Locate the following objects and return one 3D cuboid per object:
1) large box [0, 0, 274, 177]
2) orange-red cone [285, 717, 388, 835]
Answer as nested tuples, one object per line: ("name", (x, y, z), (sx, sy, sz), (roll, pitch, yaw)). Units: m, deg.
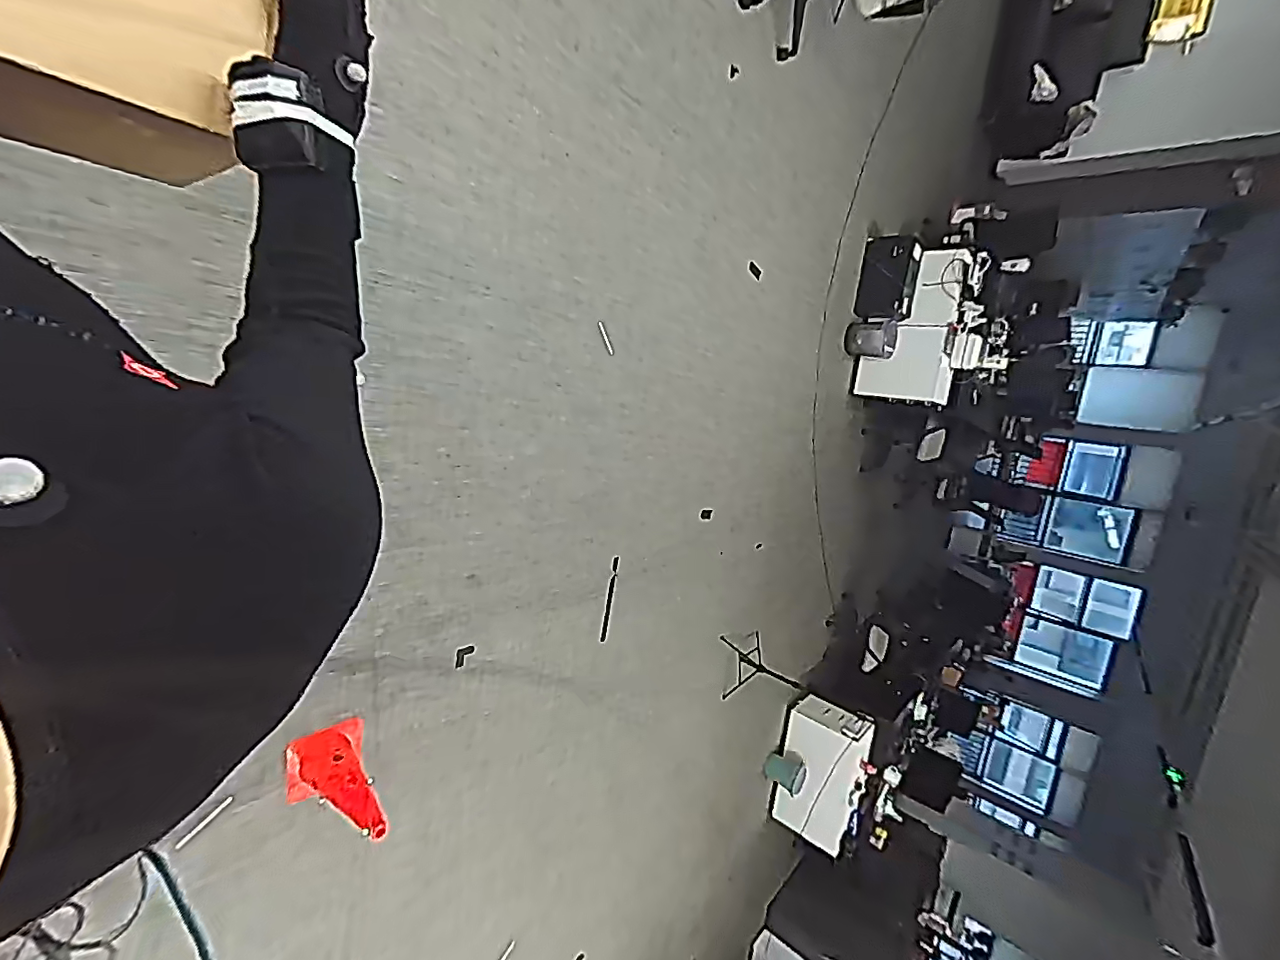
("large box", (-0.508, -0.433, 0.332), (0.408, 0.320, 0.320), (-5, 109, -51))
("orange-red cone", (-0.786, 0.837, 1.461), (0.198, 0.360, 0.199), (-6, 105, -50))
